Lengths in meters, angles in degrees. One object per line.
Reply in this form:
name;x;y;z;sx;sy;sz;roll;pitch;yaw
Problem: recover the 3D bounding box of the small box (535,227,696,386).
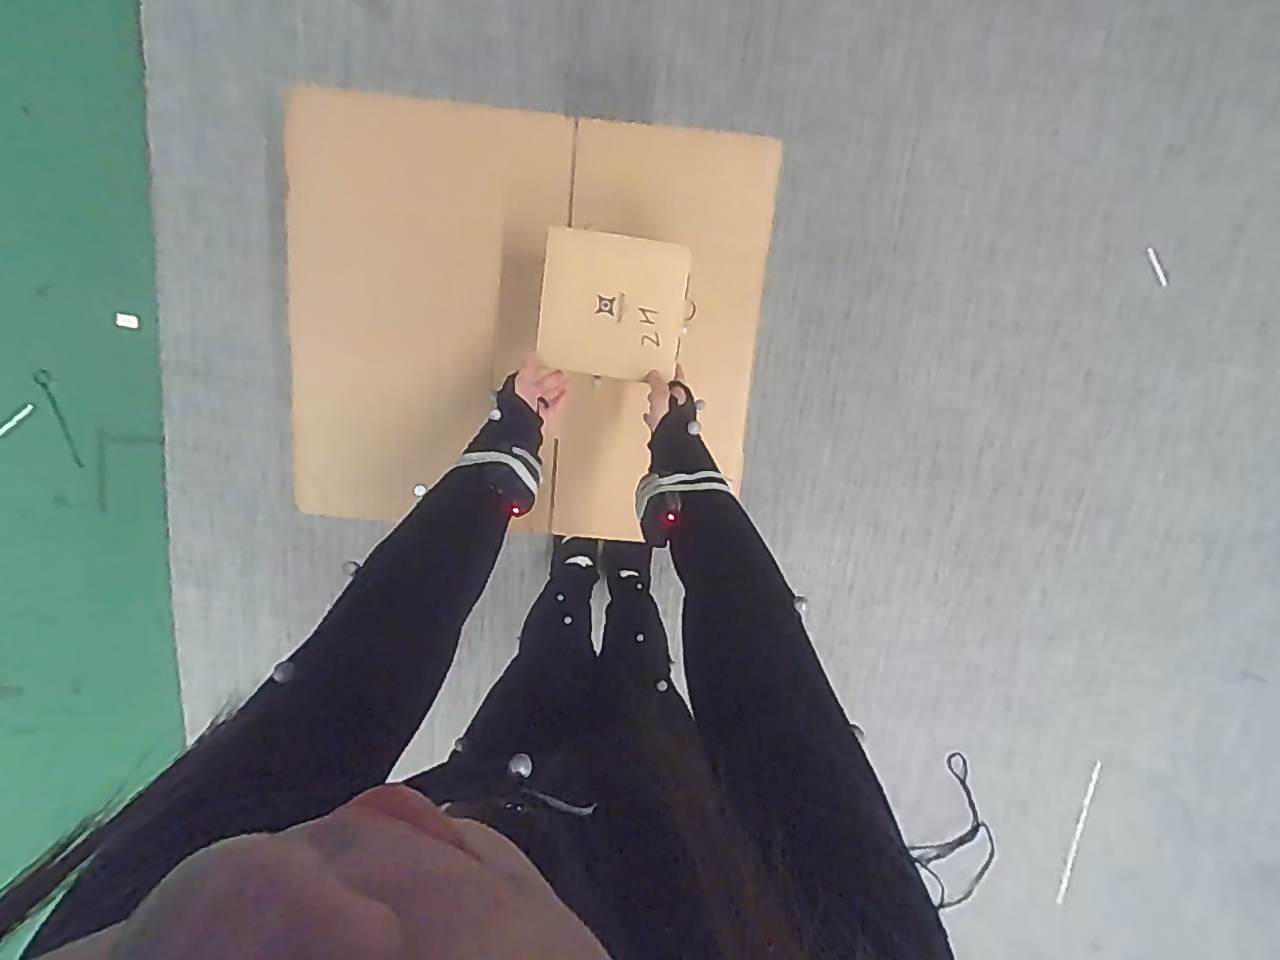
small box;-0.030;-0.220;0.728;0.179;0.176;0.168;9;101;-1
